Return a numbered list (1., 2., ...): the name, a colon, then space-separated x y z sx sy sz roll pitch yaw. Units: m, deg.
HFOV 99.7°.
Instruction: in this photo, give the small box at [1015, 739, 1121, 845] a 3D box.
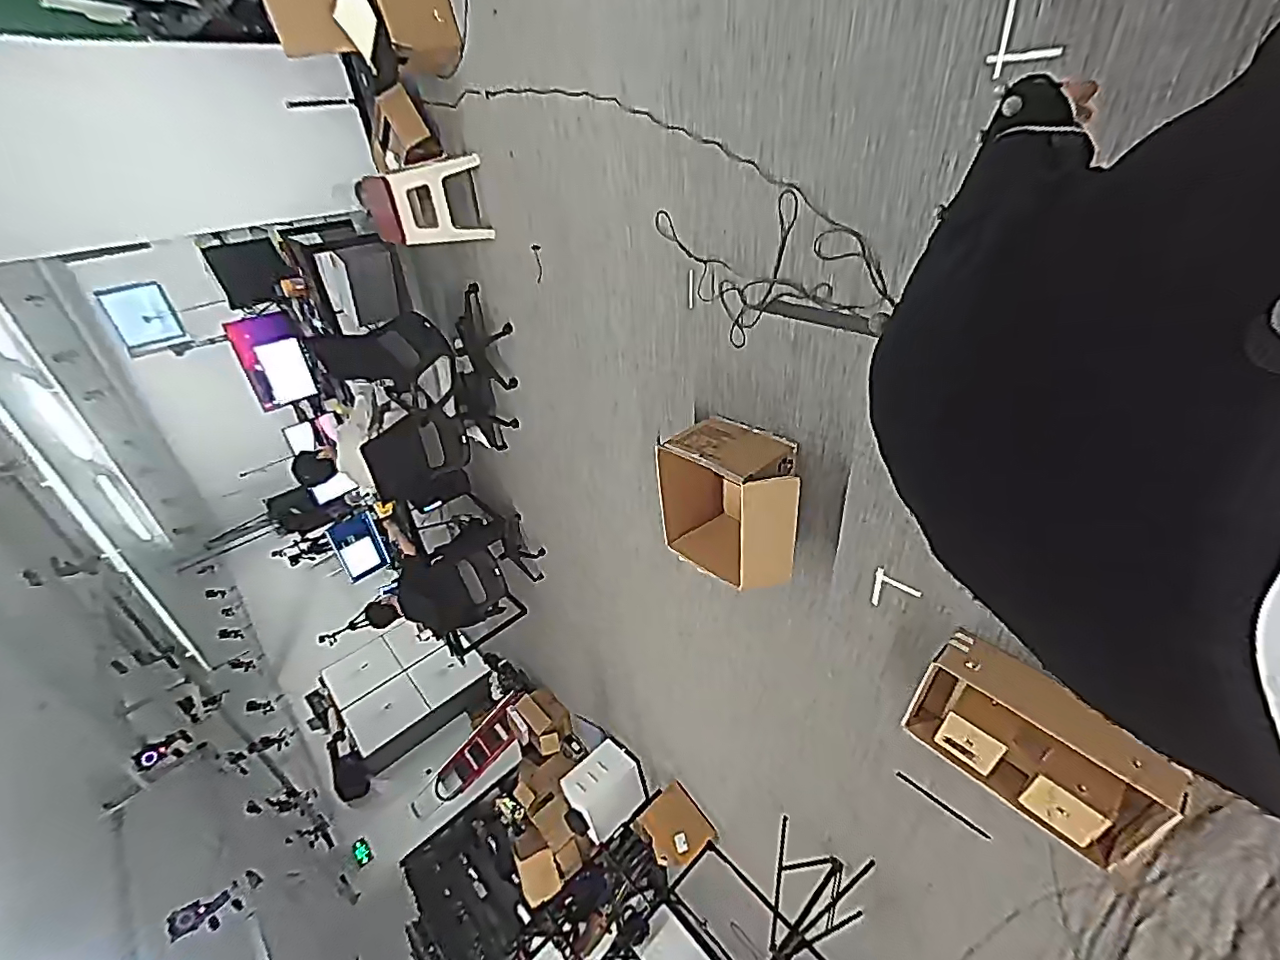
1. small box: 1.254 0.904 1.581 0.179 0.176 0.168 33 136 37
